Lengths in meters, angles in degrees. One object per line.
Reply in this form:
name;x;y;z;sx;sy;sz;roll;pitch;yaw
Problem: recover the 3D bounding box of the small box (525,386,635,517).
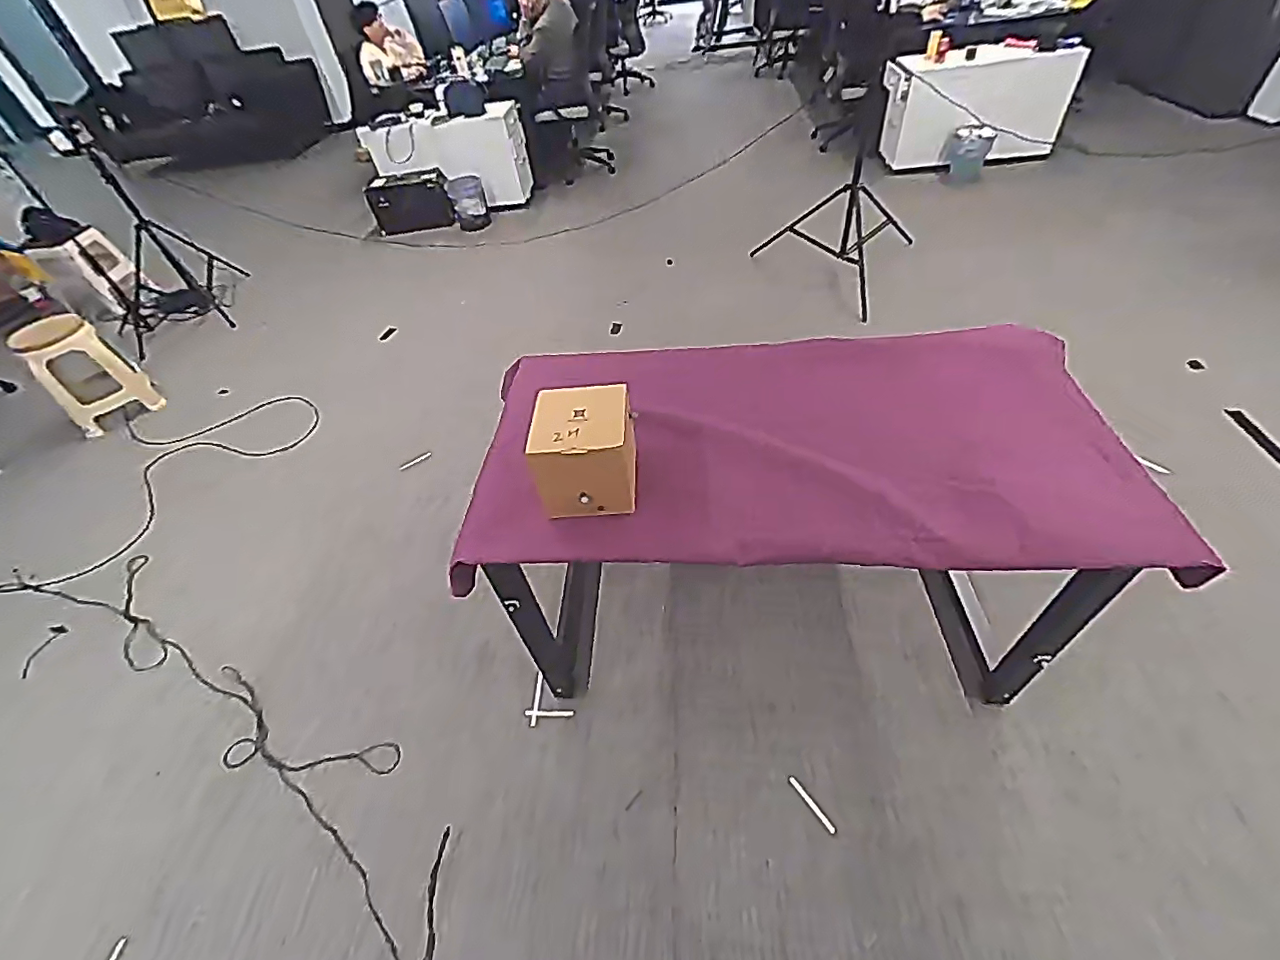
small box;-0.101;-0.052;1.005;0.168;0.176;0.179;-4;46;5
